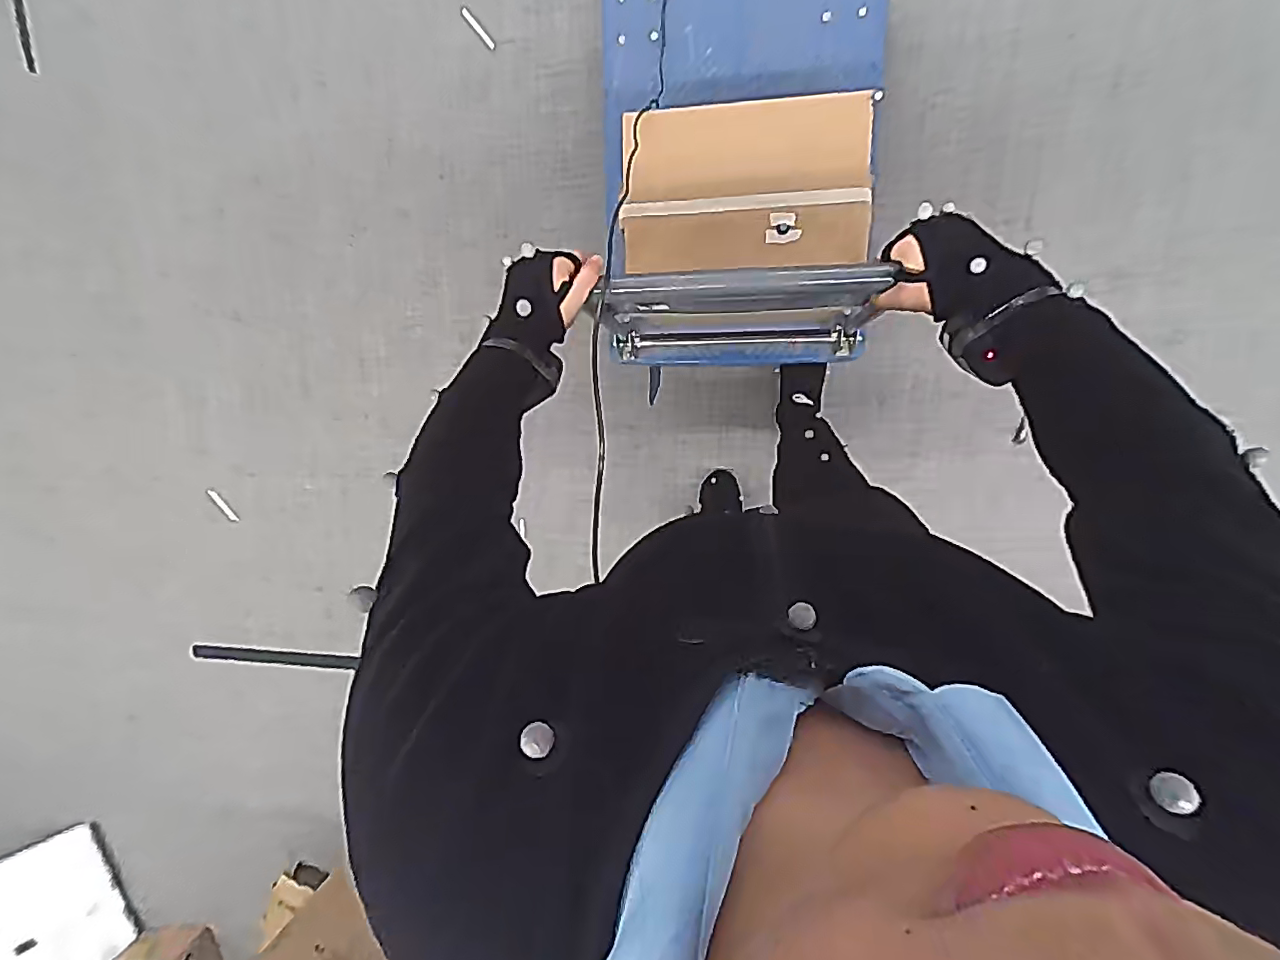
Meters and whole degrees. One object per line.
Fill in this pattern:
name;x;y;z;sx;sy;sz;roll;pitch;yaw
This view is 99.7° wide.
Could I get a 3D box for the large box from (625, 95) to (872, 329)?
large box;0.194;-0.478;1.049;0.408;0.320;0.320;0;100;8
